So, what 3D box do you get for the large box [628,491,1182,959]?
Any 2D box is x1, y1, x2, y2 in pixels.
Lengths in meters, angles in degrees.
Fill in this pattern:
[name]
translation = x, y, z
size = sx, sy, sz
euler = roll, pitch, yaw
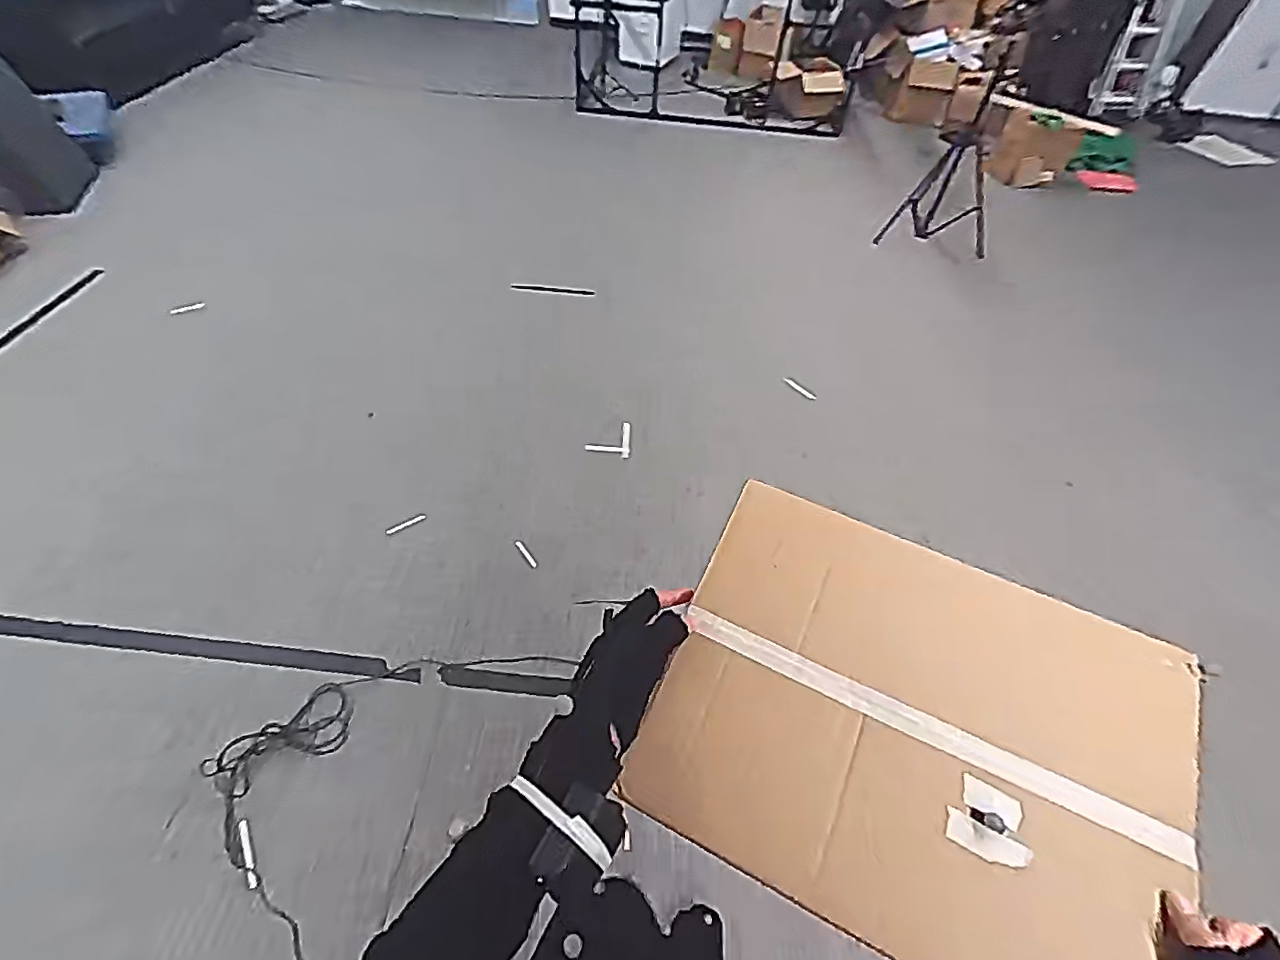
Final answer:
[large box]
translation = 0.235, 0.271, 0.591
size = 0.408, 0.320, 0.320
euler = 23, 67, 14
